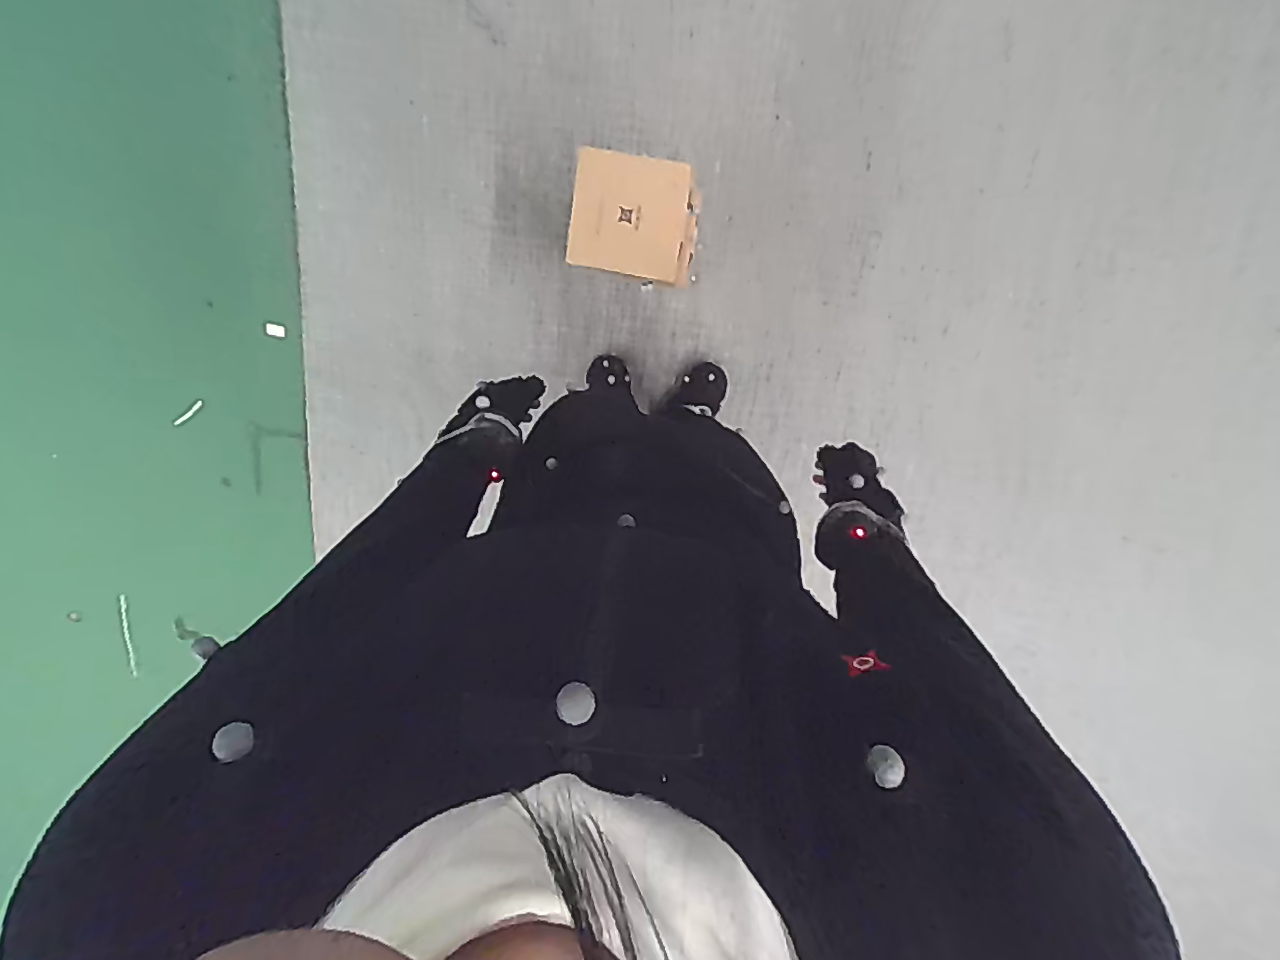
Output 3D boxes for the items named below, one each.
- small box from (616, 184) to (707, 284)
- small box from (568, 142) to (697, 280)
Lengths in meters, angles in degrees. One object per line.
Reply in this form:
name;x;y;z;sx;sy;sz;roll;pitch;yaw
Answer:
small box;0.025;-0.479;1.042;0.179;0.176;0.168;11;109;2
small box;-0.005;-0.429;0.889;0.179;0.176;0.168;11;108;4
